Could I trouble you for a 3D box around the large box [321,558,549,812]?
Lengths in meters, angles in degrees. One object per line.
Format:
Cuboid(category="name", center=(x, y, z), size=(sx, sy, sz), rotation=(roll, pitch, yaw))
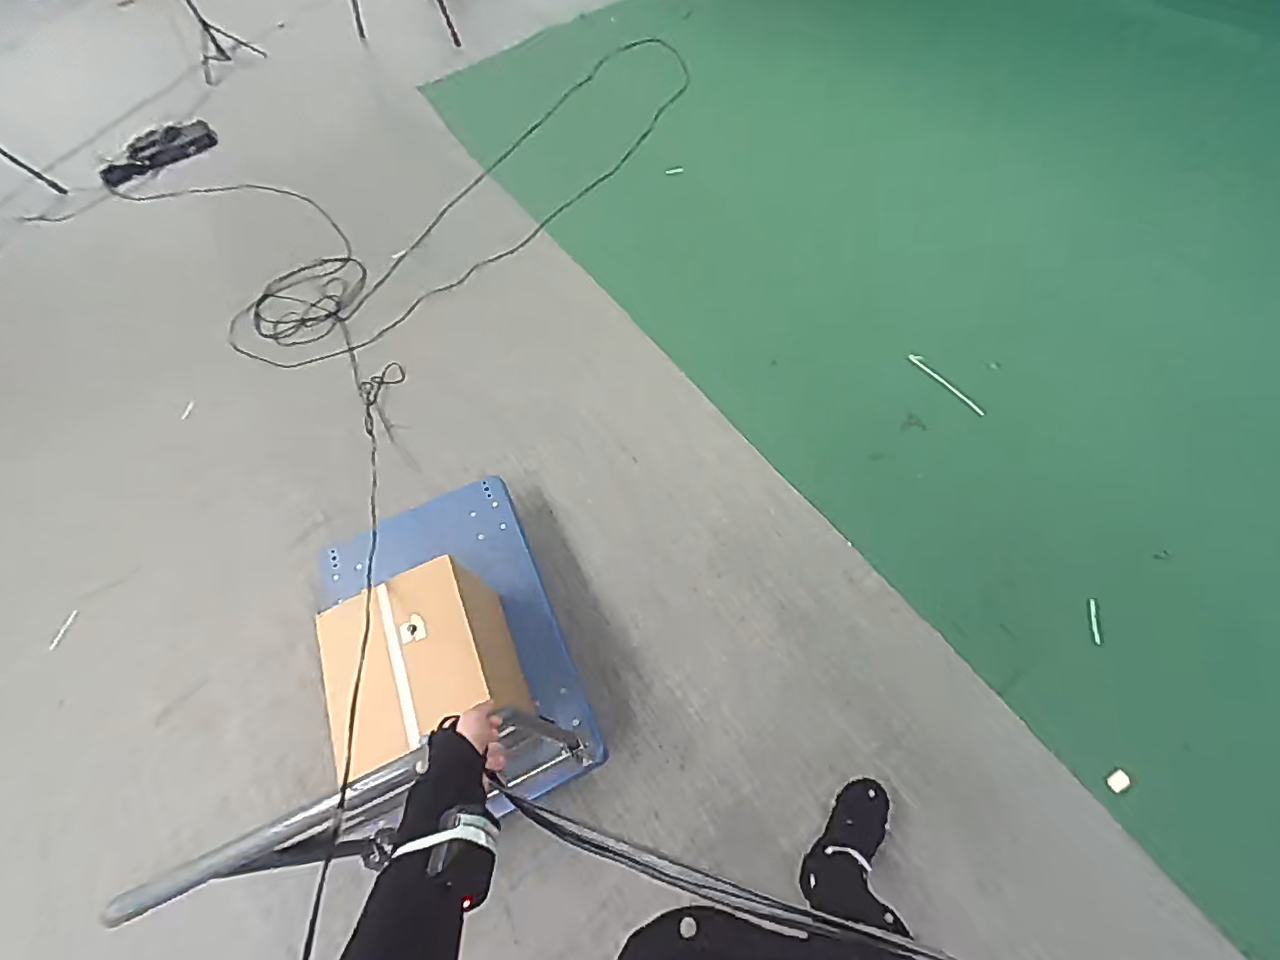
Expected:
Cuboid(category="large box", center=(-0.447, 0.457, 1.213), size=(0.320, 0.320, 0.408), rotation=(-25, 60, -6))
